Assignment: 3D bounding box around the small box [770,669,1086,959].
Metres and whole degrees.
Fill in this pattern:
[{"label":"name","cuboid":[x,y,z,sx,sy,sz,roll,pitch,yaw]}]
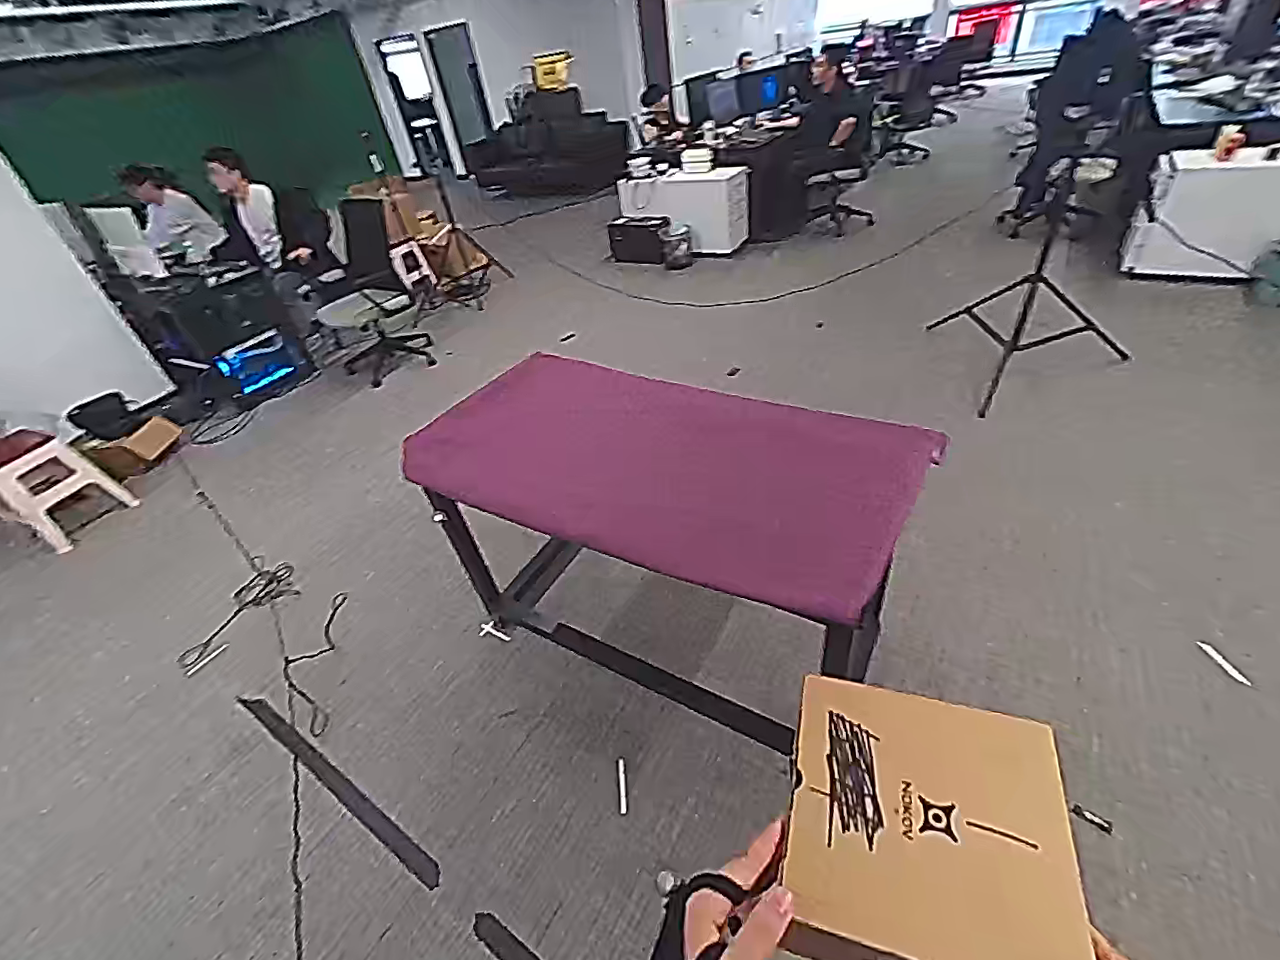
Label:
[{"label":"small box","cuboid":[0.201,0.278,0.426,0.179,0.176,0.168,6,47,18]}]
